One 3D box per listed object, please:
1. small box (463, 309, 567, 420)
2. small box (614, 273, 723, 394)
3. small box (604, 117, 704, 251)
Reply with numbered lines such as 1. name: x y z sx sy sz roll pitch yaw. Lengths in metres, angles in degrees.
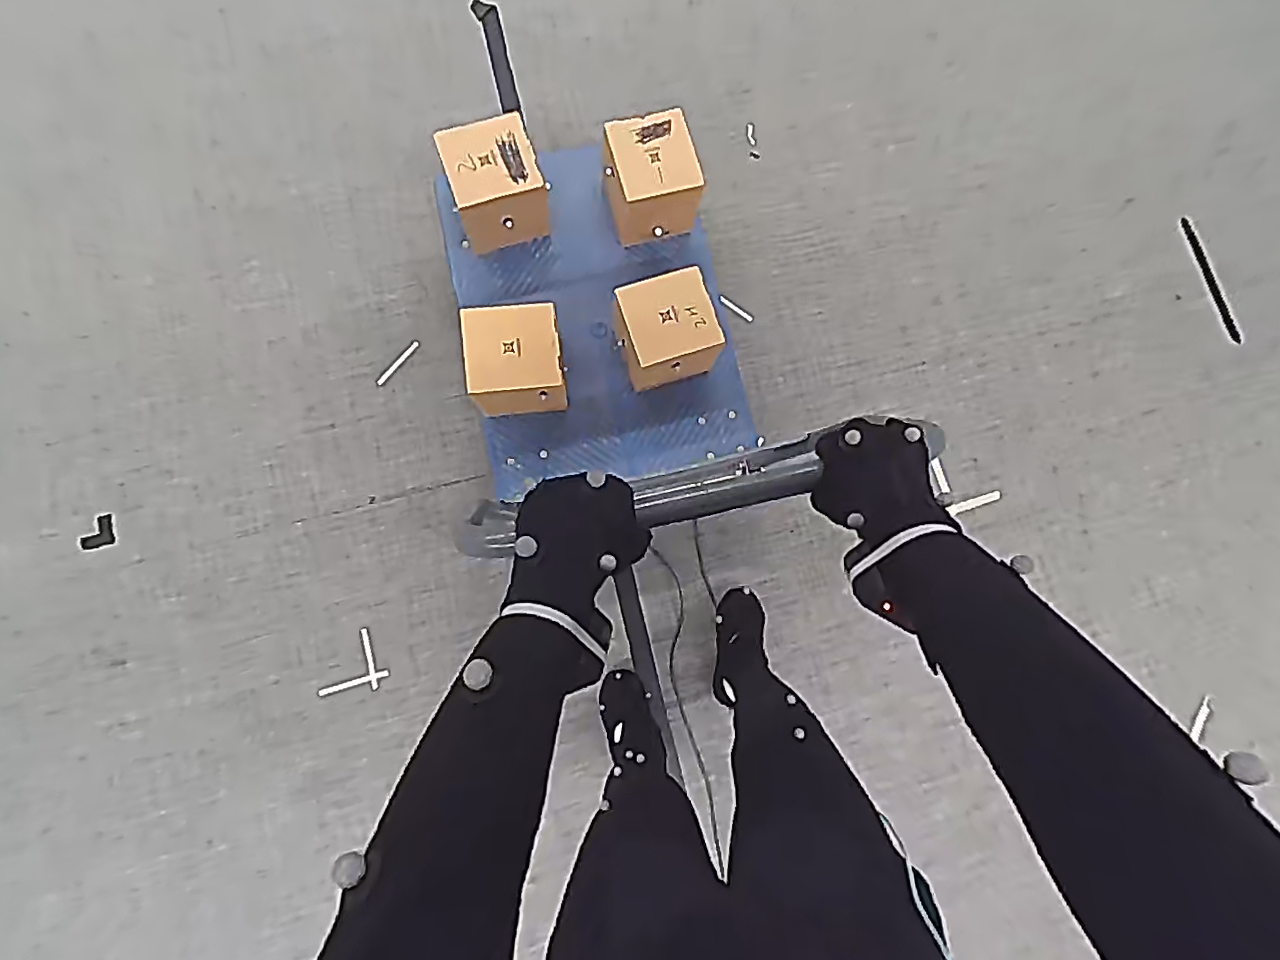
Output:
1. small box: -0.245 -0.225 1.090 0.179 0.176 0.168 -7 83 -7
2. small box: 0.052 -0.295 1.123 0.179 0.176 0.168 -18 85 -7
3. small box: 0.021 -0.629 1.165 0.168 0.176 0.179 -16 85 -6
